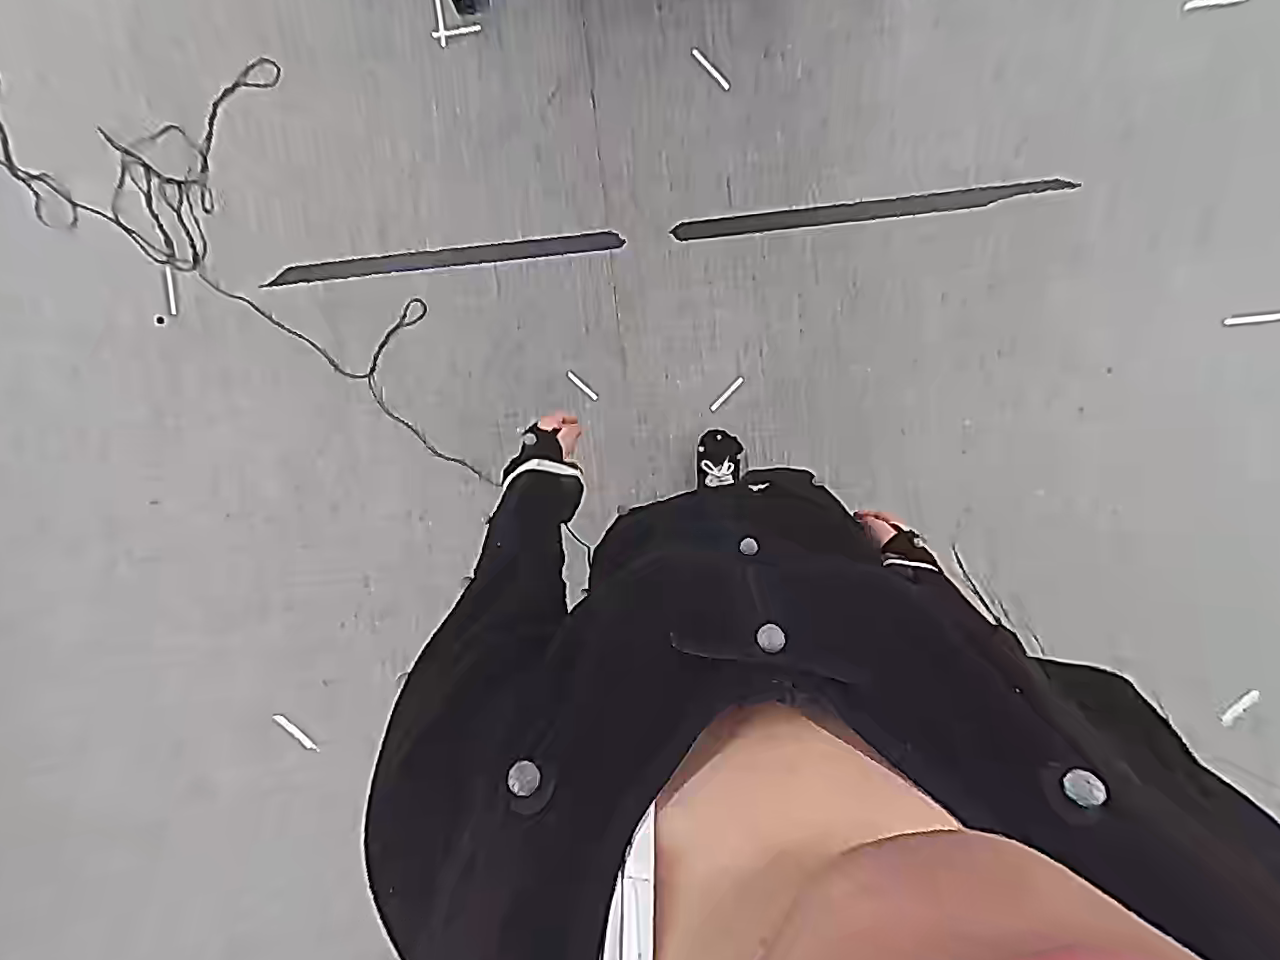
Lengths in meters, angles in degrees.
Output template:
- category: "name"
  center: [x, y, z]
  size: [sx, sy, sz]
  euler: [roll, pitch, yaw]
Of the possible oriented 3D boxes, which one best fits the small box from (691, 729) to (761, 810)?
- category: "small box"
  center: [0.224, 0.778, 1.427]
  size: [0.168, 0.176, 0.179]
  euler: [-4, 93, 5]
